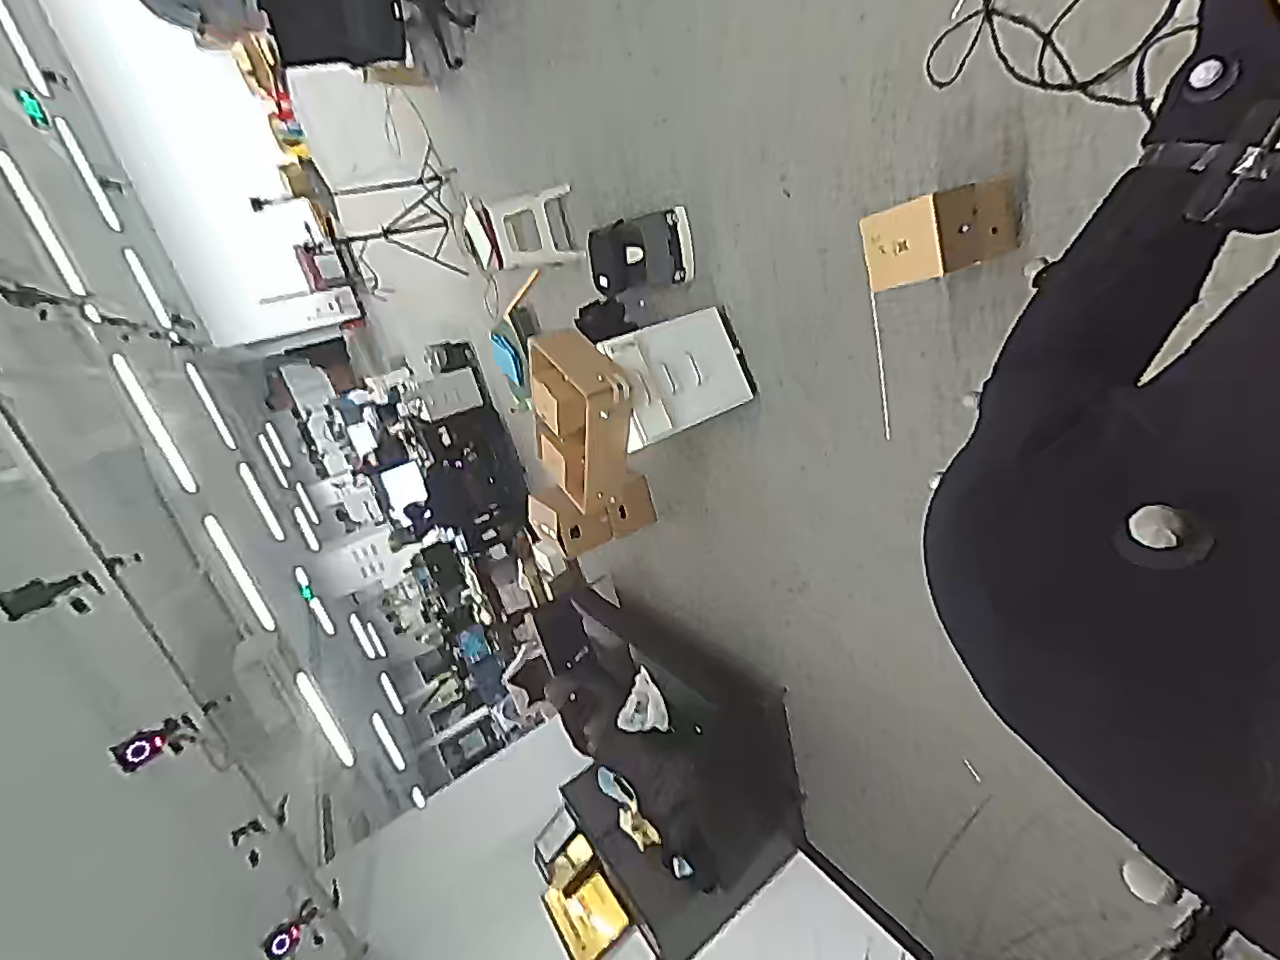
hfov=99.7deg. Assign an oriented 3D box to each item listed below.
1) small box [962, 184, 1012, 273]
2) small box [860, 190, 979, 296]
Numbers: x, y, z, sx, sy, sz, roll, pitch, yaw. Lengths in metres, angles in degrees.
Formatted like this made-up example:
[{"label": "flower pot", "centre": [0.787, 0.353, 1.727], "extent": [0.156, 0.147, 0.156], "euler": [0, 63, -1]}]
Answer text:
[{"label": "small box", "centre": [0.766, -0.592, 1.302], "extent": [0.179, 0.176, 0.168], "euler": [12, 123, 58]}, {"label": "small box", "centre": [0.636, -0.532, 1.220], "extent": [0.179, 0.176, 0.168], "euler": [10, 121, 59]}]
